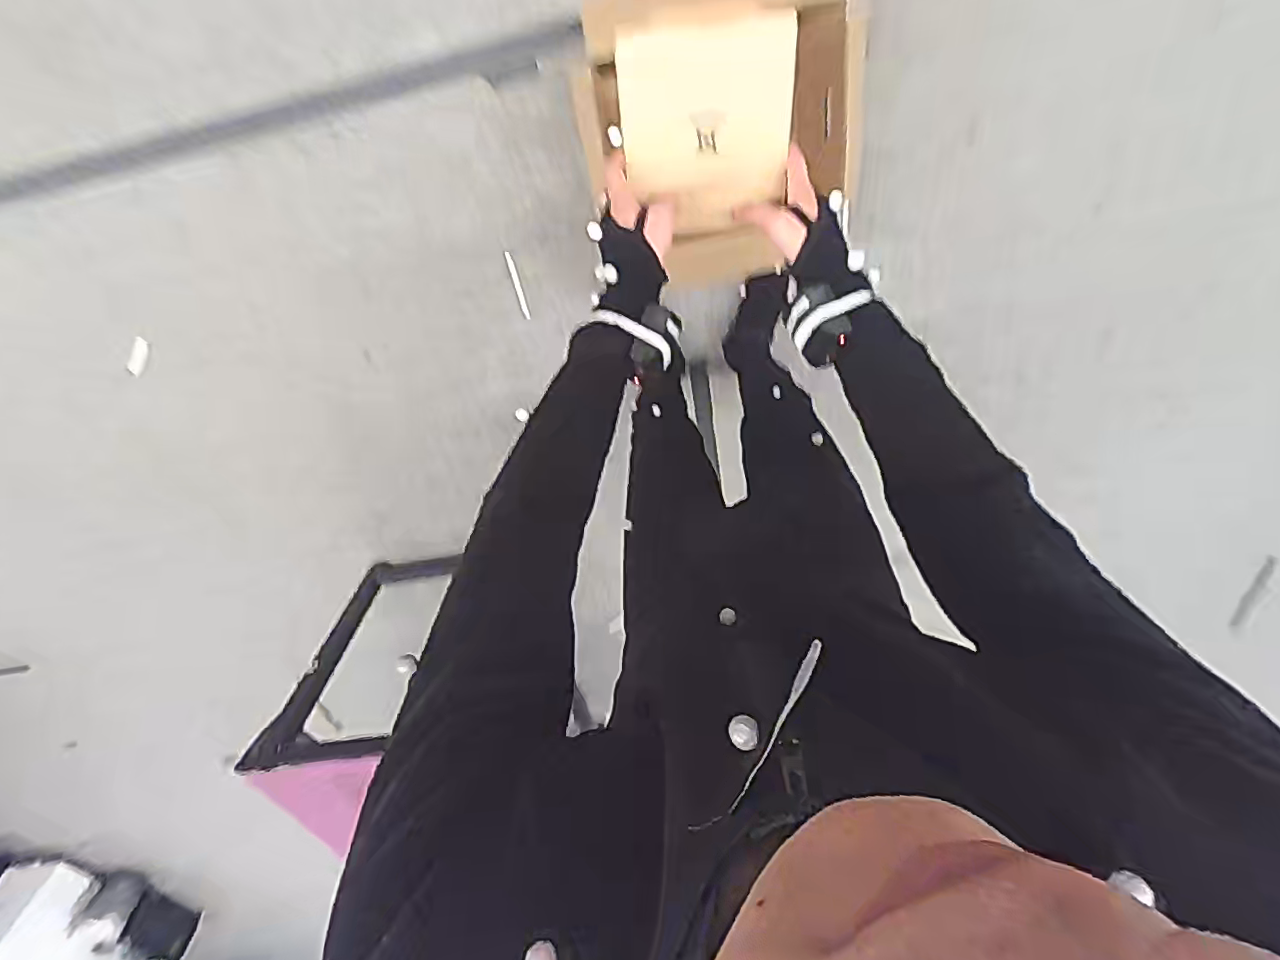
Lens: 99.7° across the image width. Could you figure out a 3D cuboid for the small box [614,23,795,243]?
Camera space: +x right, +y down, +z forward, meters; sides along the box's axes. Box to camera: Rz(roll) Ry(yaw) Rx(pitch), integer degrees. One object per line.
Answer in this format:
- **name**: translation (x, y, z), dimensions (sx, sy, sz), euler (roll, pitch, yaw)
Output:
- **small box**: translation (0.059, -0.375, 0.595), dimensions (0.168, 0.176, 0.179), euler (-4, 125, 0)
